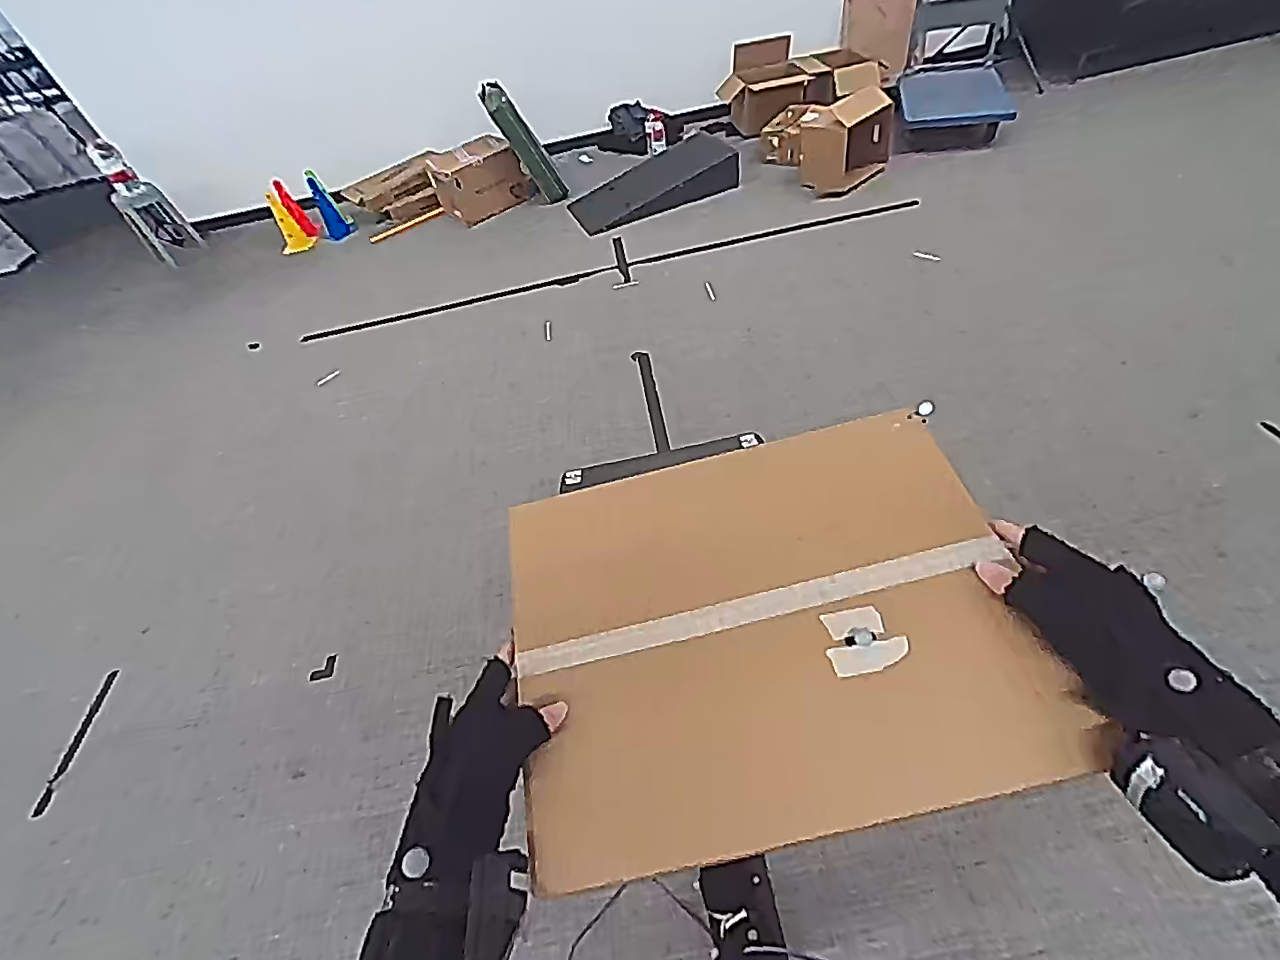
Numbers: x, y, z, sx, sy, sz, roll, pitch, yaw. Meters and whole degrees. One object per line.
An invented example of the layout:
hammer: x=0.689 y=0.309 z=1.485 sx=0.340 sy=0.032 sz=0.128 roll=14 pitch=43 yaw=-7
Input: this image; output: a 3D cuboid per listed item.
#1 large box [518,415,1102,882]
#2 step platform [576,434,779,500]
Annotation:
large box: x=0.120 y=0.188 z=0.577 sx=0.408 sy=0.320 sz=0.320 roll=-14 pitch=56 yaw=2
step platform: x=0.141 y=0.070 z=1.705 sx=0.684 sy=0.204 sz=0.286 roll=-12 pitch=49 yaw=0
